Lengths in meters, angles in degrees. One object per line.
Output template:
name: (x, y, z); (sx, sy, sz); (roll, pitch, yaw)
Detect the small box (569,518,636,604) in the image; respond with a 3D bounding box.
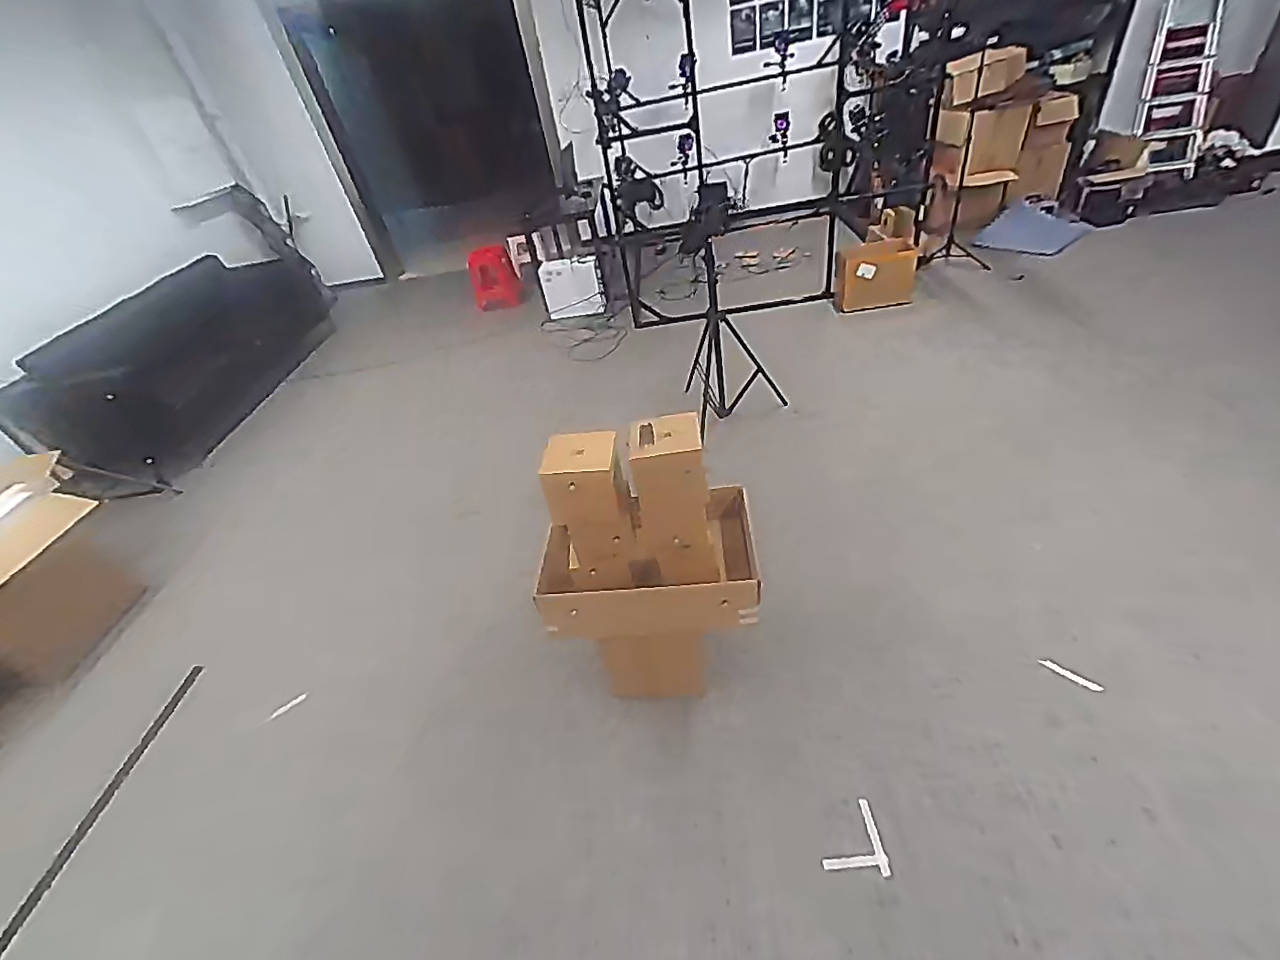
small box: (-0.106, 0.240, 1.595); (0.168, 0.176, 0.179); (-9, 38, 3)

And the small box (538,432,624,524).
small box: (-0.140, -0.003, 1.382); (0.179, 0.176, 0.168); (-4, 39, 8)
